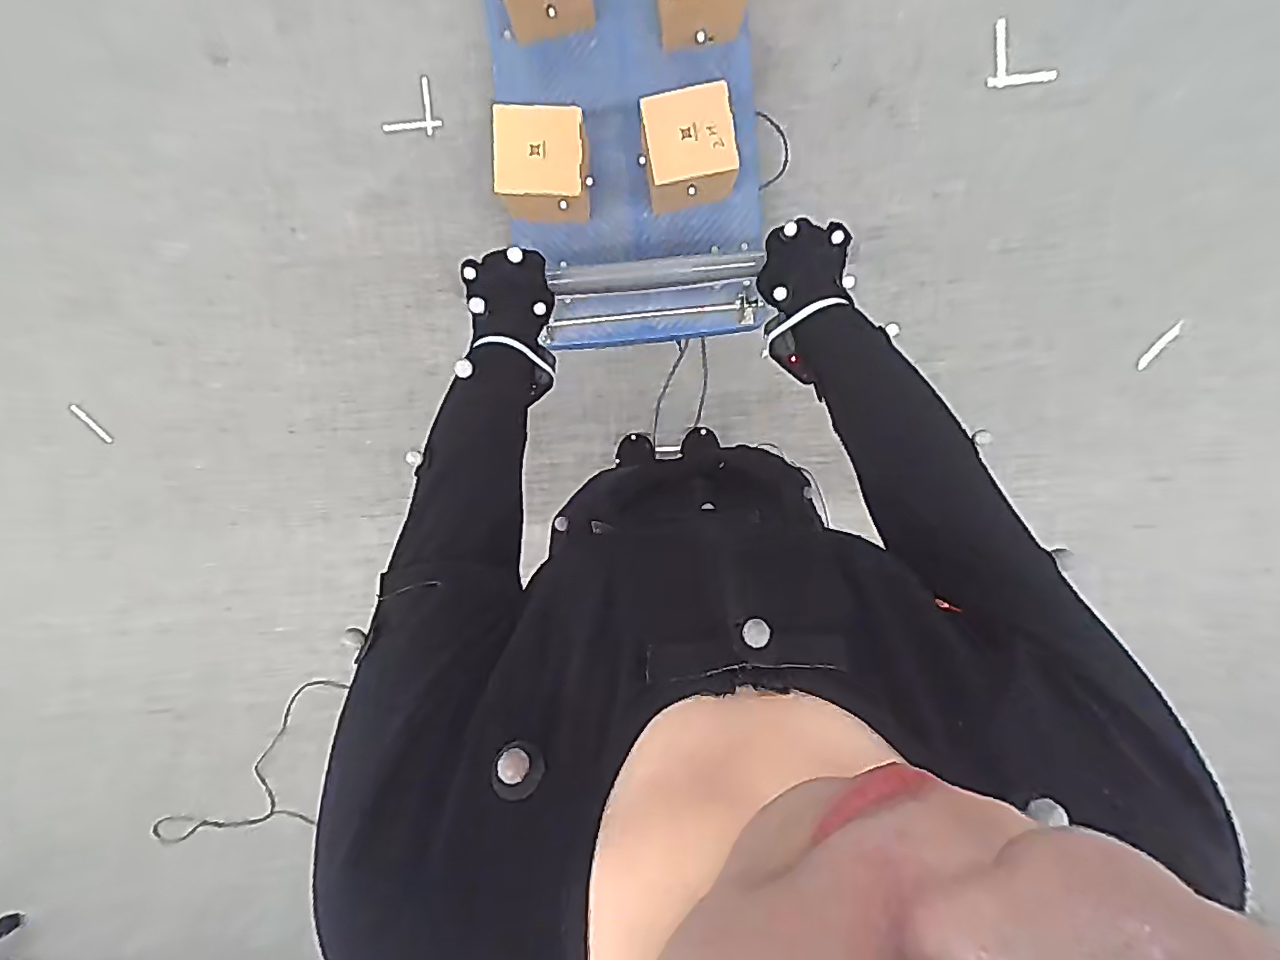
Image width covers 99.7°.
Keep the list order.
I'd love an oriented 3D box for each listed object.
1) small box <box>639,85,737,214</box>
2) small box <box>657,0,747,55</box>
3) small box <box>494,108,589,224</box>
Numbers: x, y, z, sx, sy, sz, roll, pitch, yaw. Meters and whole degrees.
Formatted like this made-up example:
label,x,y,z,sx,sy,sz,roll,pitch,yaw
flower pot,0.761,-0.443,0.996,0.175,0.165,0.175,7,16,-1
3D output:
label,x,y,z,sx,sy,sz,roll,pitch,yaw
small box,0.098,-0.693,1.155,0.179,0.176,0.168,-11,97,2
small box,0.120,-1.030,1.111,0.168,0.176,0.179,-8,98,1
small box,-0.204,-0.663,1.161,0.179,0.176,0.168,0,97,-1
